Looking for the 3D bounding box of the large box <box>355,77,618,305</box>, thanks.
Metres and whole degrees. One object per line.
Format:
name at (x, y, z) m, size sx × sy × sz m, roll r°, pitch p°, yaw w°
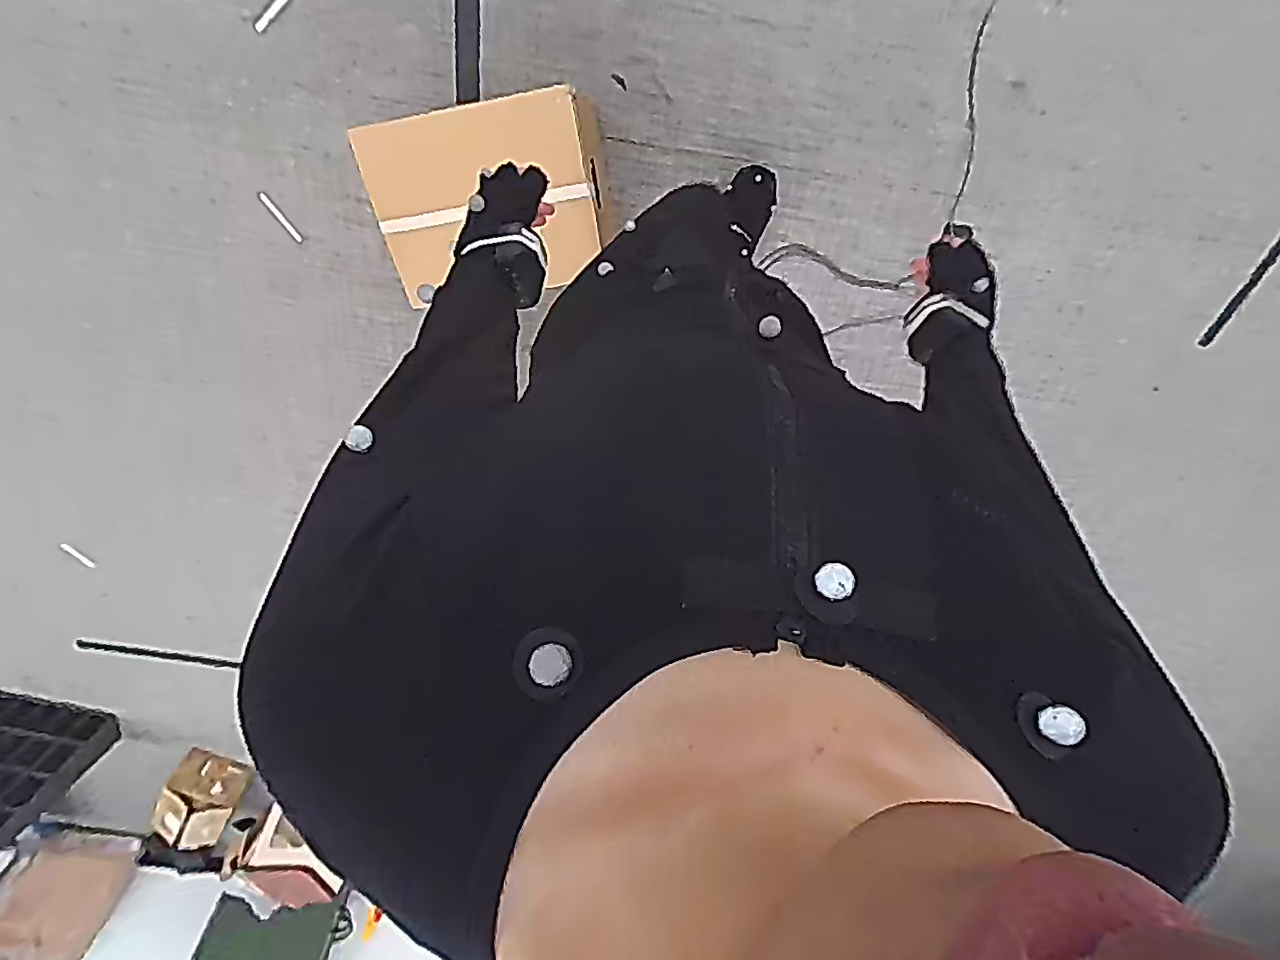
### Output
large box at (-0.277, -0.586, 1.123) m, size 0.408 × 0.320 × 0.320 m, roll -8°, pitch 121°, yaw 6°
